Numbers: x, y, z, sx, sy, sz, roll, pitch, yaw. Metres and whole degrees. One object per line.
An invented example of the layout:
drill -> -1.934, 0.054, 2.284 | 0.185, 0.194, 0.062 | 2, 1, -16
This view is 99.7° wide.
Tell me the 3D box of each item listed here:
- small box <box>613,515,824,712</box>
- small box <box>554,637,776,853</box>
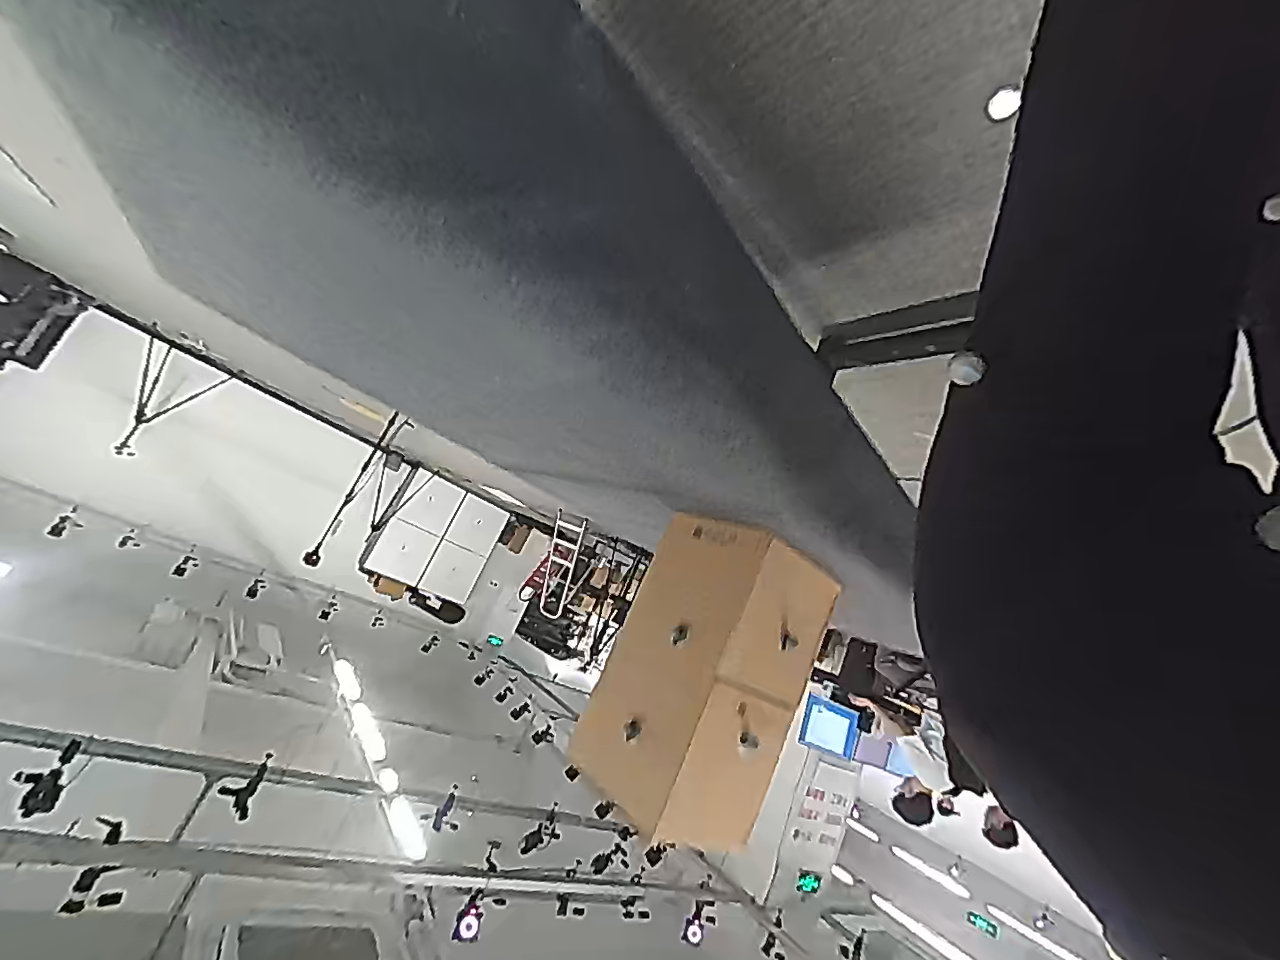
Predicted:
small box -> 0.105, 0.163, 0.690 | 0.179, 0.176, 0.168 | 35, 164, -35
small box -> 0.033, 0.309, 0.658 | 0.168, 0.176, 0.179 | 36, 163, -35
